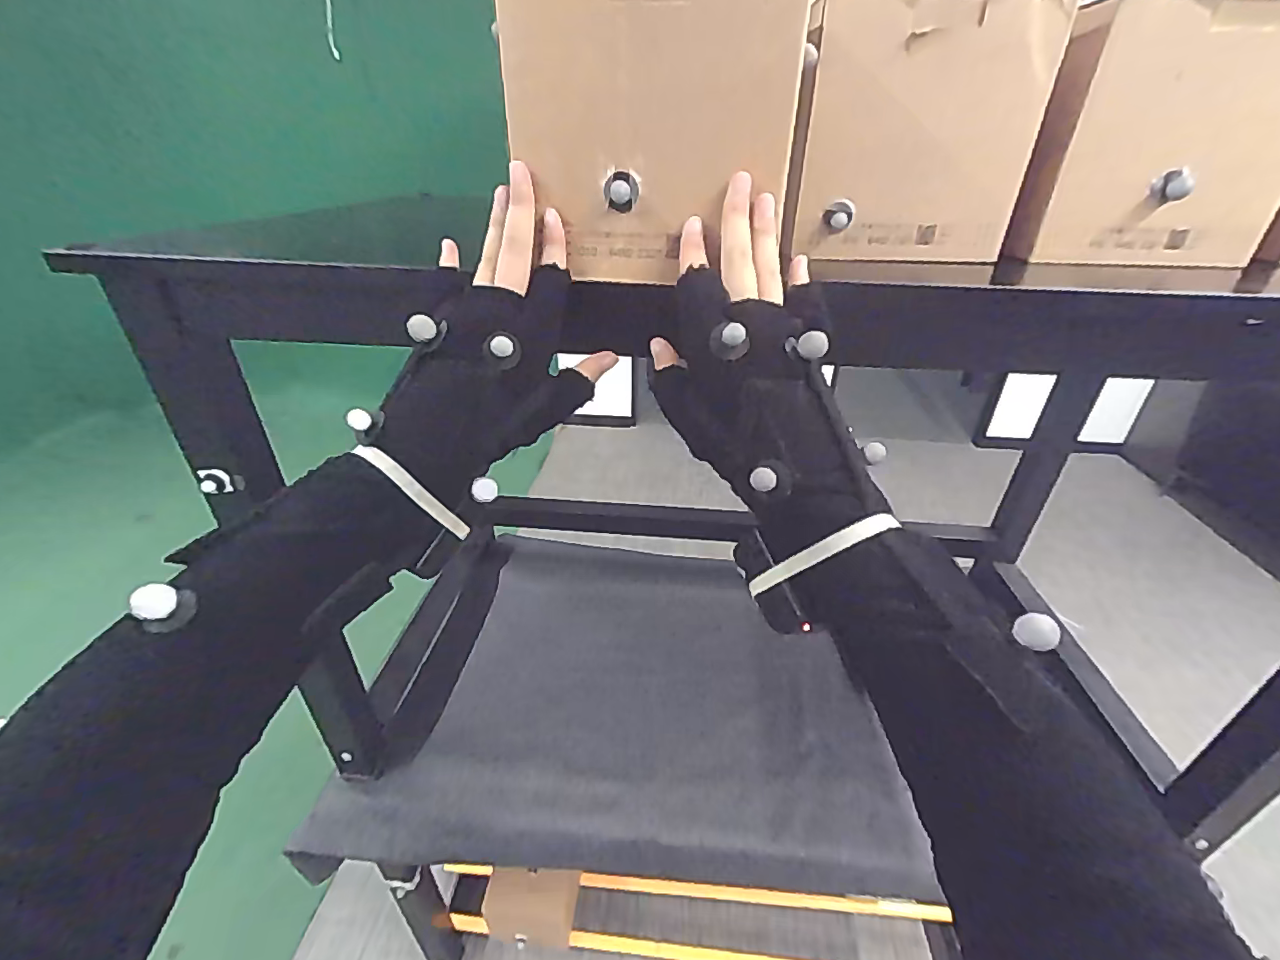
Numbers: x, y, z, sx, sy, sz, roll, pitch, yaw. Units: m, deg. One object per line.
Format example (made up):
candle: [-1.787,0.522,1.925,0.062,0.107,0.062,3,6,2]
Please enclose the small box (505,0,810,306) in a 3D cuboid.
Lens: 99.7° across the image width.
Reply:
small box: [0.014,-0.234,0.388,0.168,0.176,0.179,4,33,6]
